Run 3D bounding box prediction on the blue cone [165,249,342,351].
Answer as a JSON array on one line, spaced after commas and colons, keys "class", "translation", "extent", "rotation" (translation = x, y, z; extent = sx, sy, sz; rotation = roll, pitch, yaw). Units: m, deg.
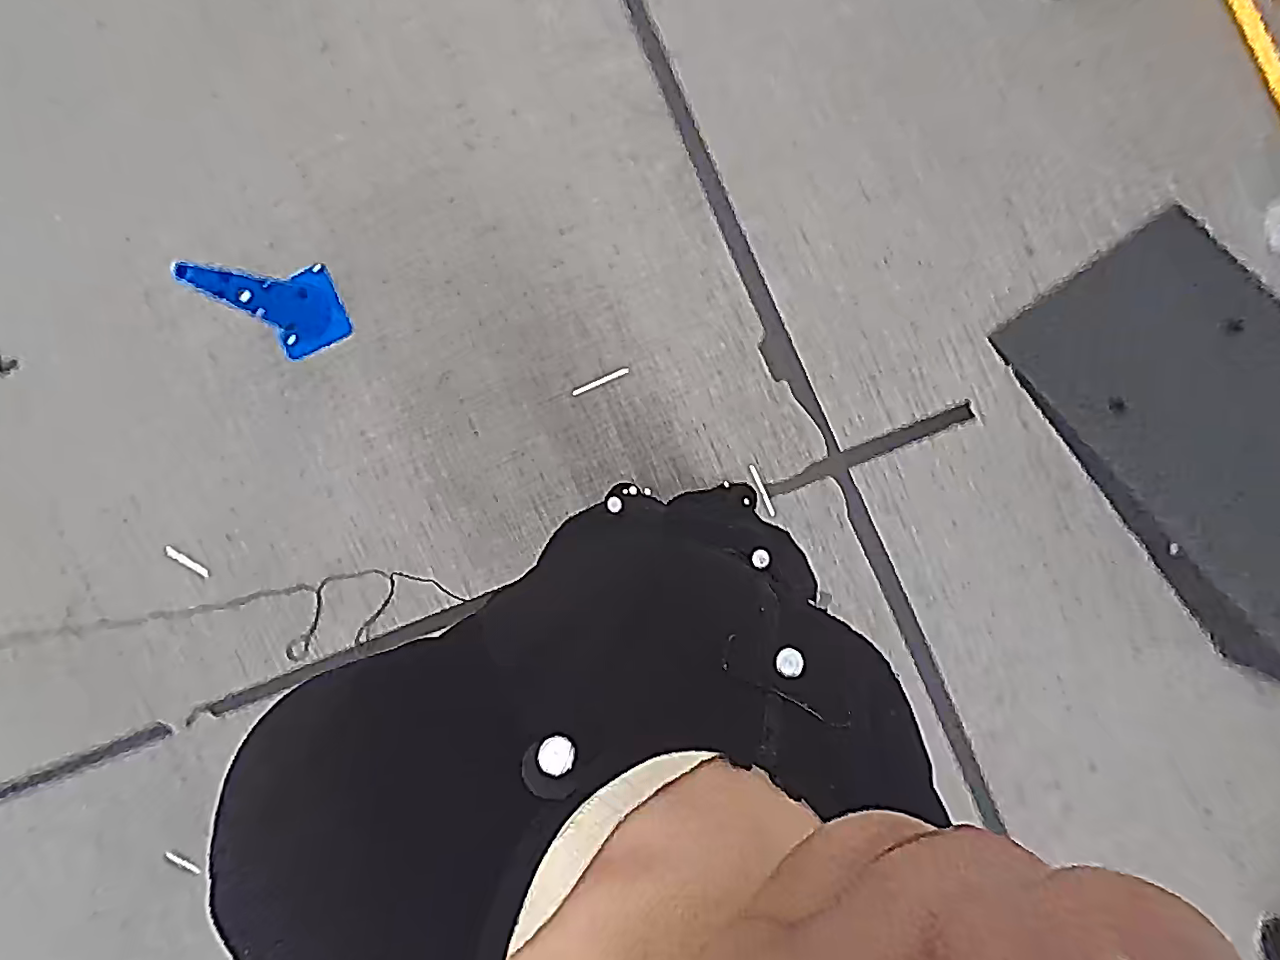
[{"class": "blue cone", "translation": [-0.895, -0.436, 1.242], "extent": [0.193, 0.380, 0.192], "rotation": [-22, 91, 6]}]
